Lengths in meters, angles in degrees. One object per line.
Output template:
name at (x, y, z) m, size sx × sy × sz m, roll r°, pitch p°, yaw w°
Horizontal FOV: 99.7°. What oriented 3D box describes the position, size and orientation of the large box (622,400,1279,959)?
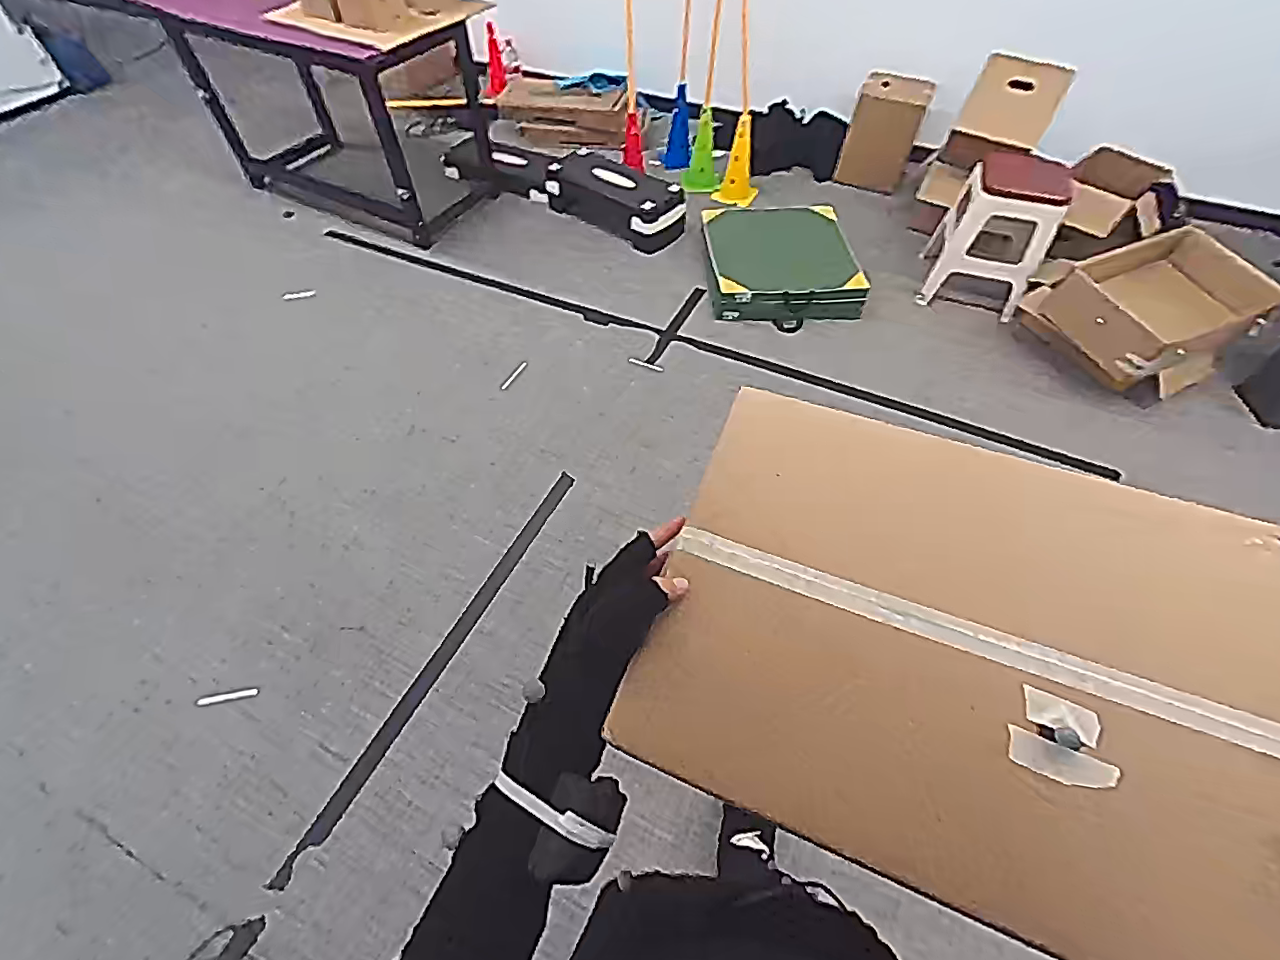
large box at (0.235, 0.175, 0.523) m, size 0.408 × 0.320 × 0.320 m, roll 18°, pitch 67°, yaw 15°
